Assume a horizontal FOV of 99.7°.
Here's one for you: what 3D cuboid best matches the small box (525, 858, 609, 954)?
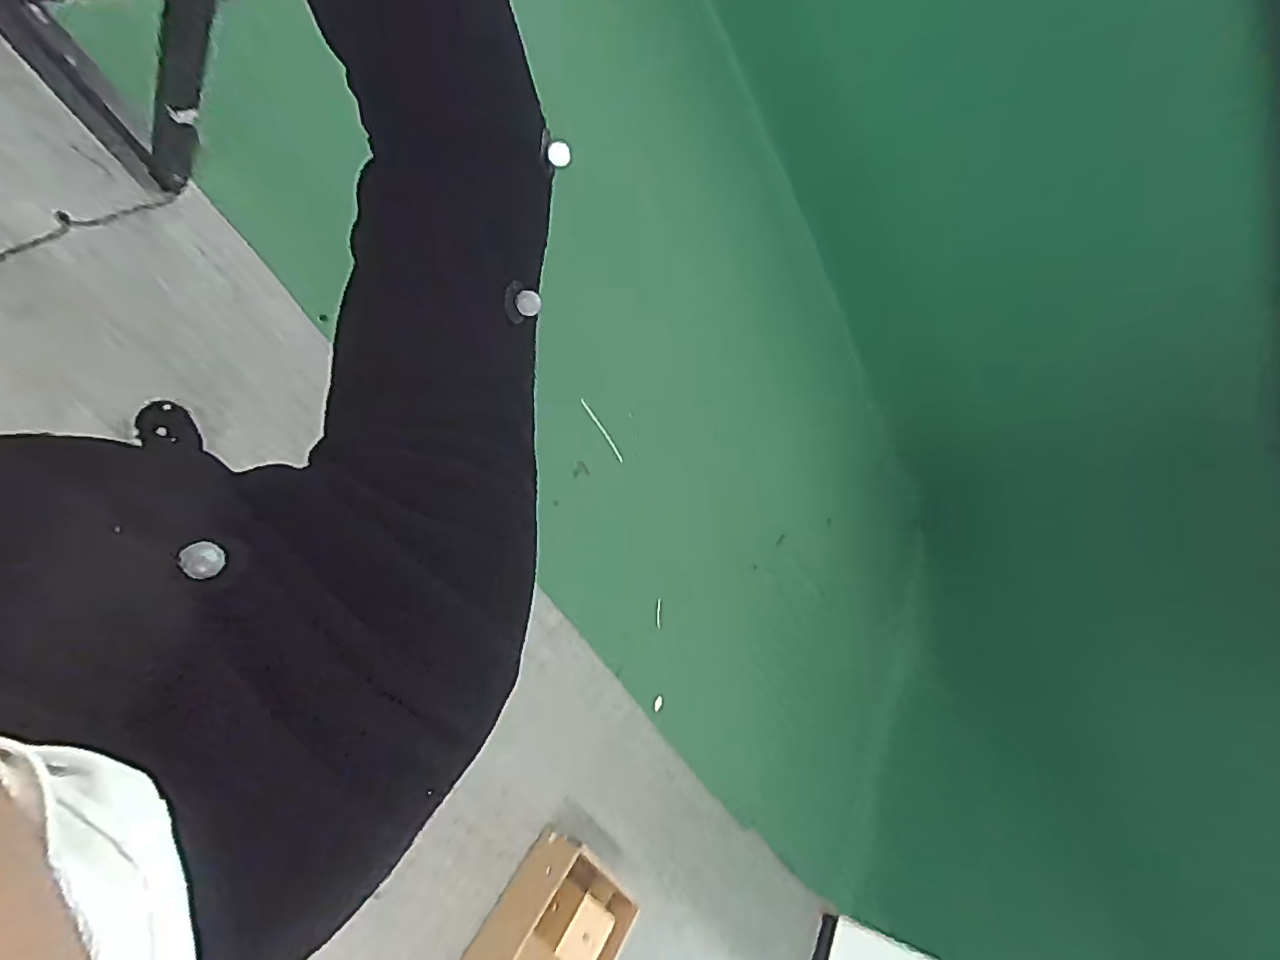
[{"bbox_3d":[-0.241,1.379,1.763,0.168,0.176,0.179,-50,117,-36],"label":"small box"}]
